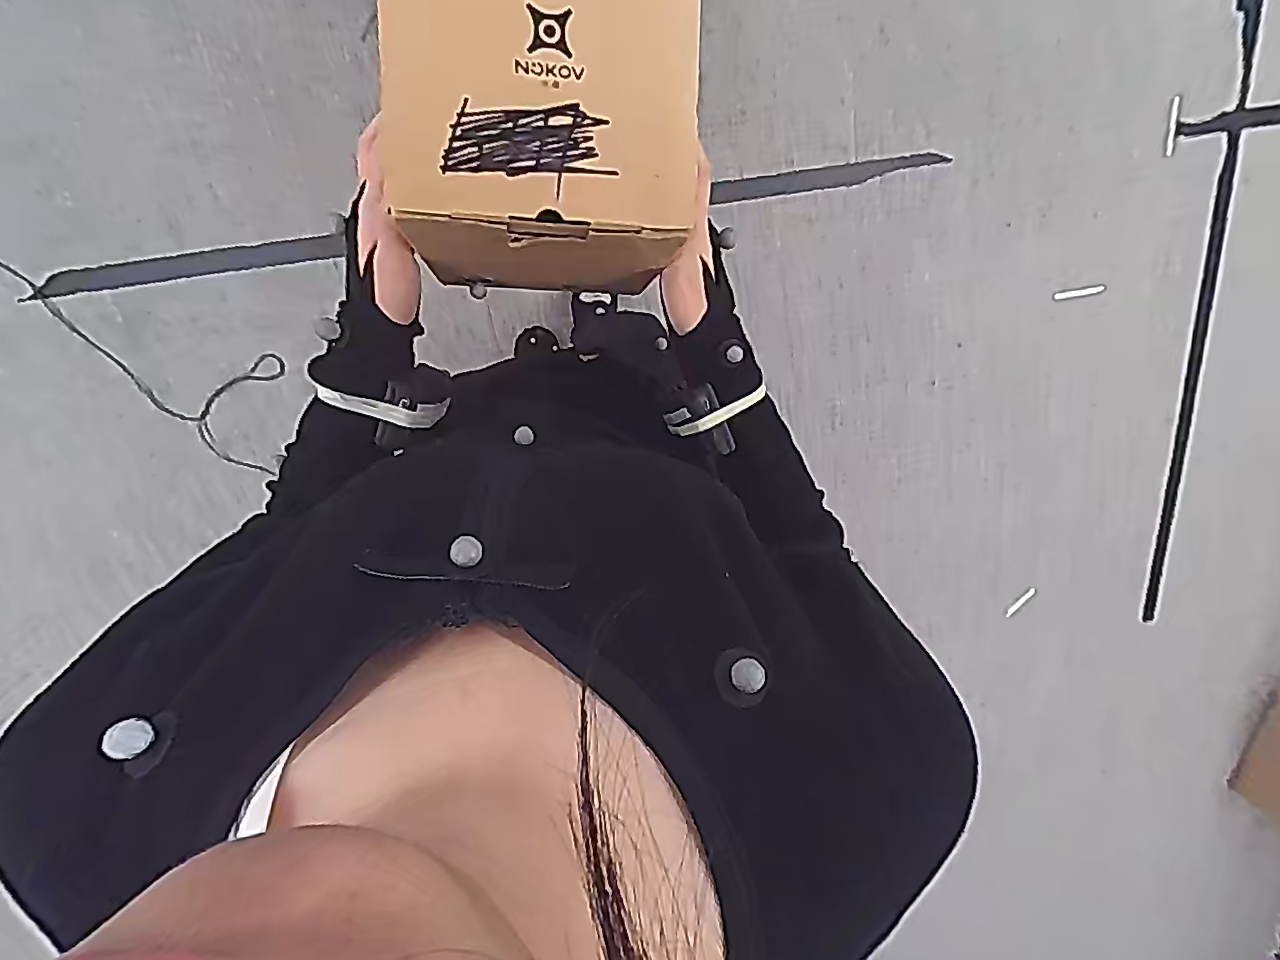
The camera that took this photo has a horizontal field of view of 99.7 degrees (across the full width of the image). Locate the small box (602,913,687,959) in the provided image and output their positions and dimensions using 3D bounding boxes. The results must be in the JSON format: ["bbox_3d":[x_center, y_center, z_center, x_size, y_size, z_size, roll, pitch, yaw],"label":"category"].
[{"bbox_3d":[0.015,1.064,1.137,0.179,0.176,0.168,-8,109,-6],"label":"small box"}]

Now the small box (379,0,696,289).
[{"bbox_3d":[-0.064,-0.236,0.363,0.168,0.176,0.179,-1,96,-11],"label":"small box"}]

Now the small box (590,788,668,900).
[{"bbox_3d":[-0.033,0.963,1.446,0.179,0.176,0.168,-11,108,-4],"label":"small box"}]
